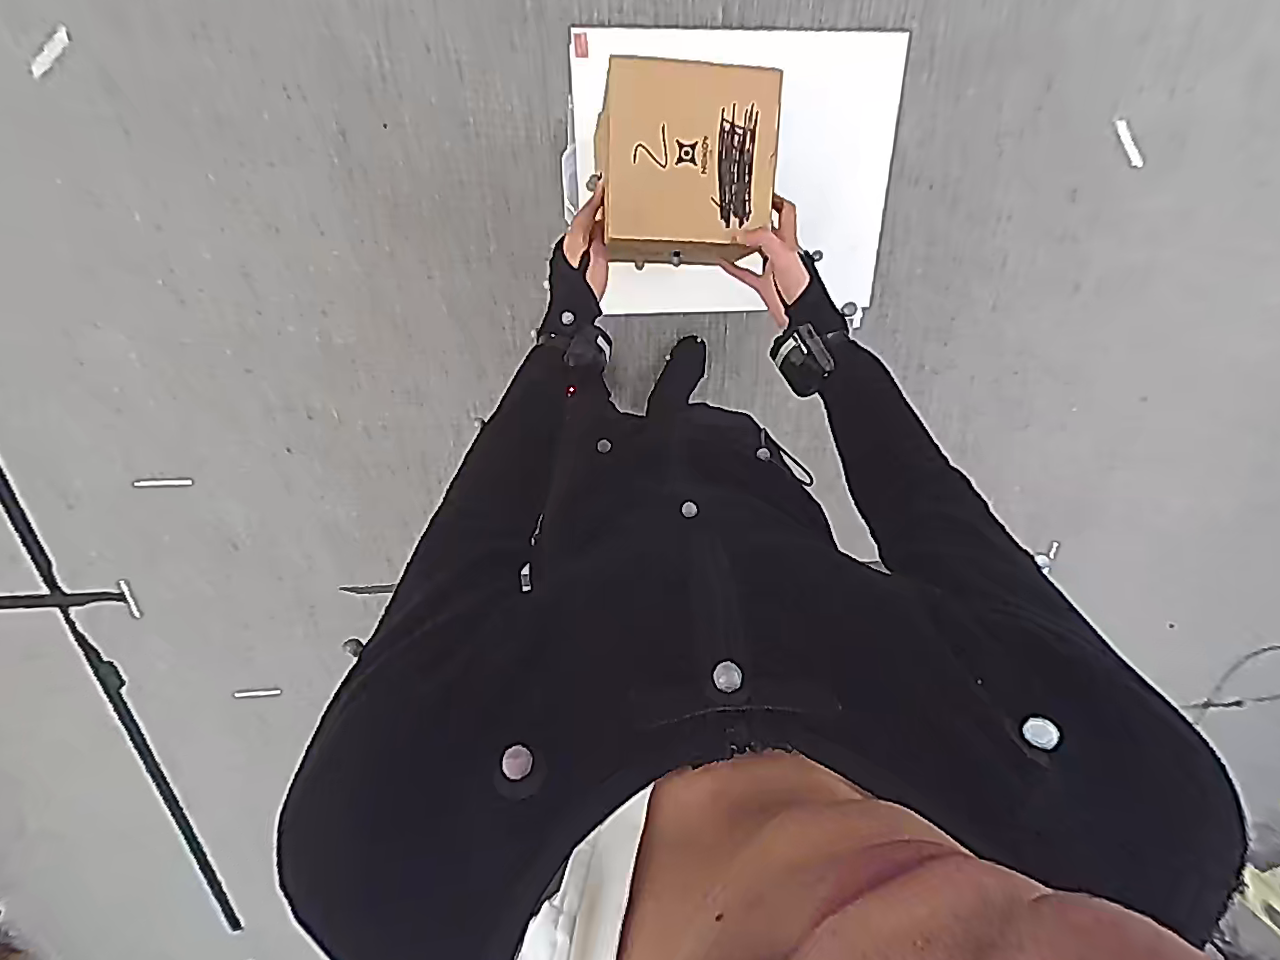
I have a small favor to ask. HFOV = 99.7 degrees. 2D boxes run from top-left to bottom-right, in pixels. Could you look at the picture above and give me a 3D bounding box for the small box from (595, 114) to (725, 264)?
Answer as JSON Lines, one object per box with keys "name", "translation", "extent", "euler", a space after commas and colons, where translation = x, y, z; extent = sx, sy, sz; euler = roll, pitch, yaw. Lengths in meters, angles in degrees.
{"name": "small box", "translation": [0.020, -0.414, 0.790], "extent": [0.168, 0.176, 0.179], "euler": [-3, 113, -6]}
